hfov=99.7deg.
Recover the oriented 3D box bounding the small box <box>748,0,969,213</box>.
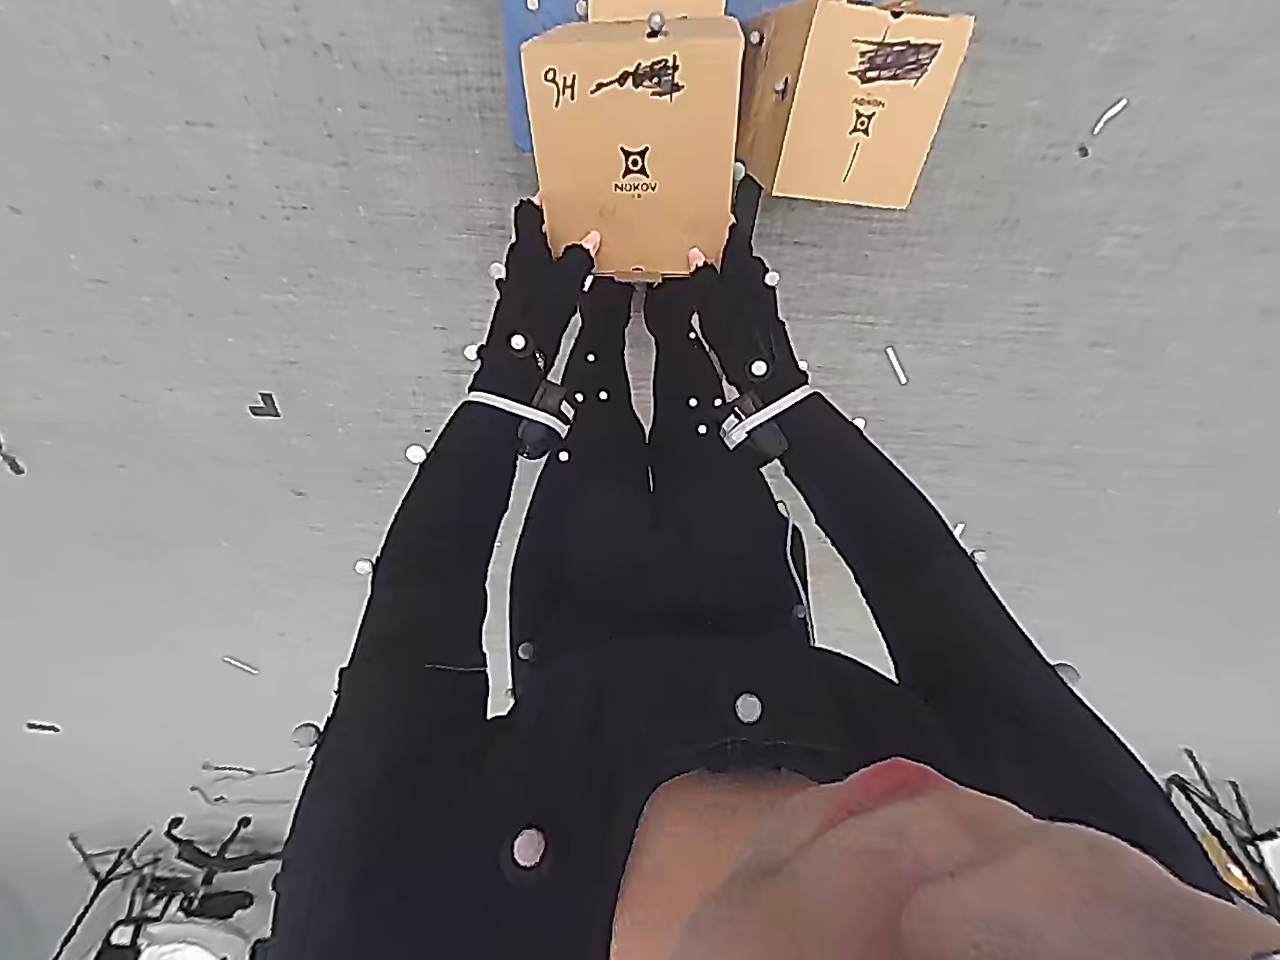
[{"bbox_3d":[0.236,-0.439,0.643,0.168,0.176,0.179,4,128,-5],"label":"small box"}]

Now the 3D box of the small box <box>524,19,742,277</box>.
[{"bbox_3d":[0.002,-0.314,0.512,0.168,0.176,0.179,2,134,4],"label":"small box"}]
